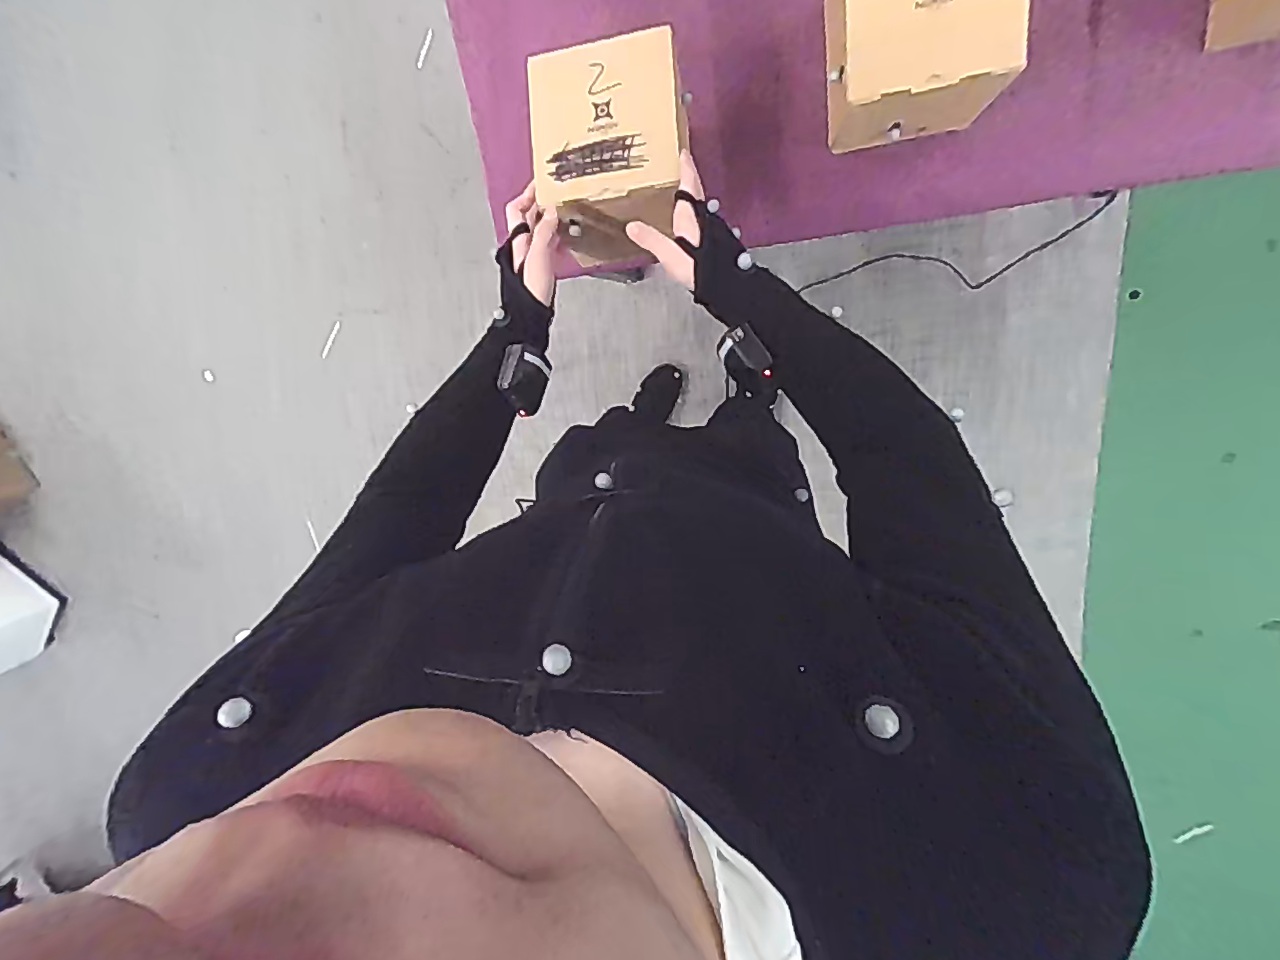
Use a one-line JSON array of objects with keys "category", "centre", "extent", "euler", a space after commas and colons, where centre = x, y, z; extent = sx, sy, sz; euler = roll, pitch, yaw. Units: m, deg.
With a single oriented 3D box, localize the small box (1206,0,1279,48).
[{"category": "small box", "centre": [0.684, -0.549, 0.494], "extent": [0.168, 0.176, 0.179], "euler": [-2, 105, 14]}]
